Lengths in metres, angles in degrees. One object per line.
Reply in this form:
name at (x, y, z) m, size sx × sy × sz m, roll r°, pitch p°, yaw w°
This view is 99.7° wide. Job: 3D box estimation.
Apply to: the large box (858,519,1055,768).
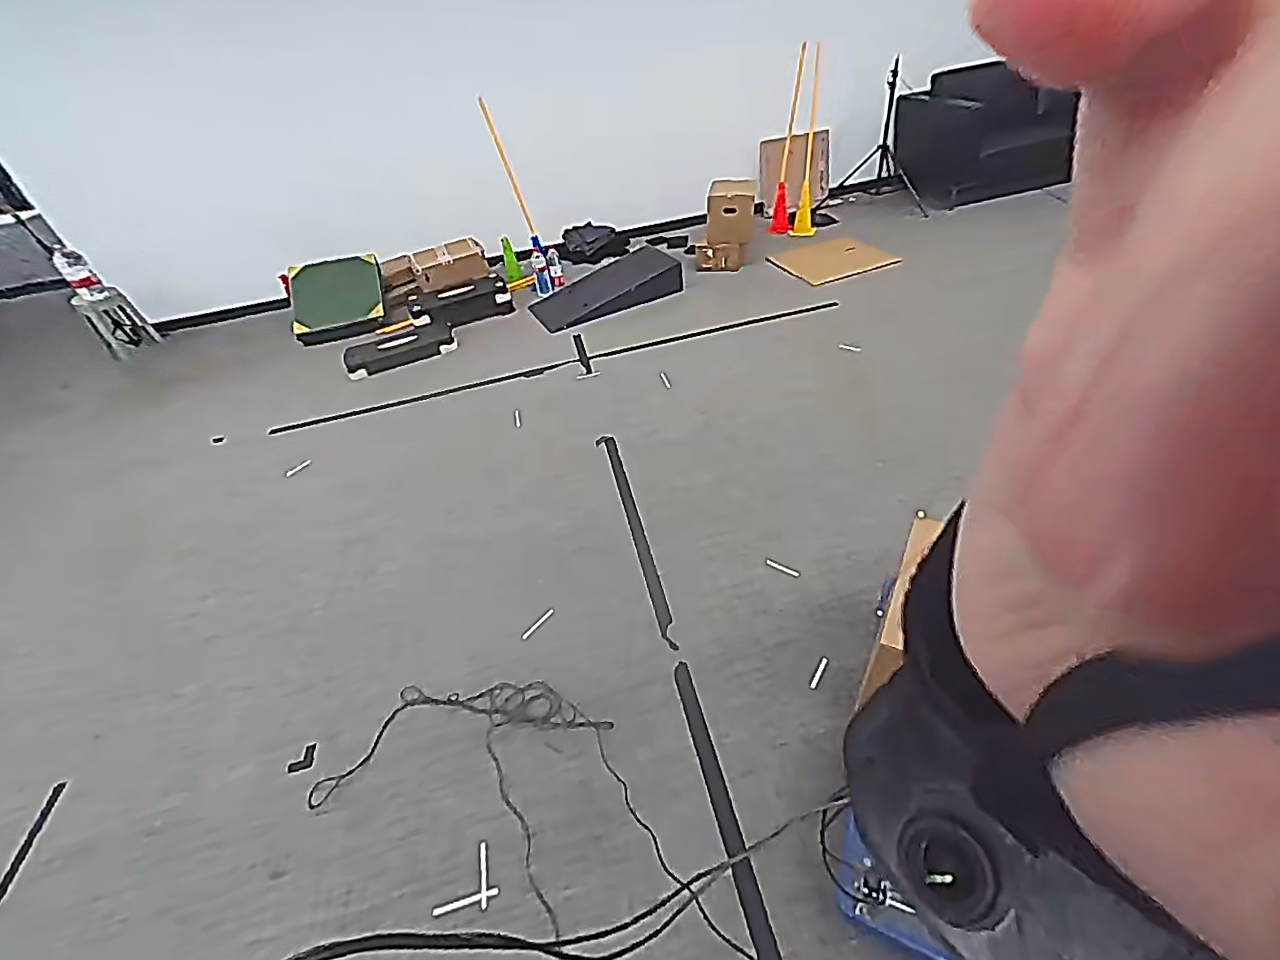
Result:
large box at (0.731, 0.367, 1.269) m, size 0.320 × 0.320 × 0.408 m, roll 17°, pitch 47°, yaw 25°
